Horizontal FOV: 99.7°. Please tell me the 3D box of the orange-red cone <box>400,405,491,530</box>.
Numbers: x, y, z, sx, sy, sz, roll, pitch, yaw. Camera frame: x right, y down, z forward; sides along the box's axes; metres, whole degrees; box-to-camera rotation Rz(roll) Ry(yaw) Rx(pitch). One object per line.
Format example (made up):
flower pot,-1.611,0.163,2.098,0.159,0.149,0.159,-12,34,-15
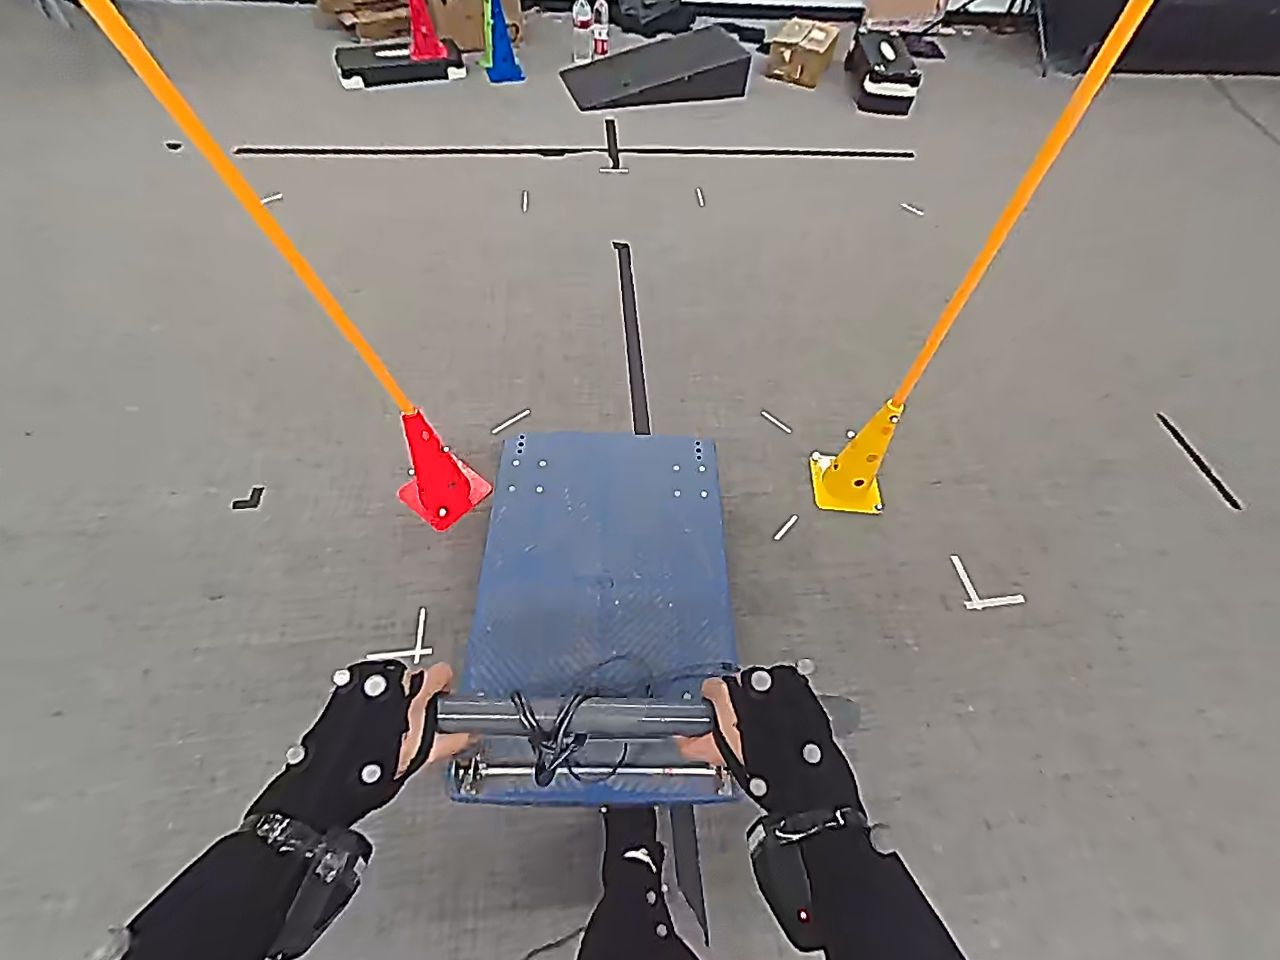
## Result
orange-red cone,-0.541,-0.063,1.407,0.198,0.360,0.199,37,60,18
